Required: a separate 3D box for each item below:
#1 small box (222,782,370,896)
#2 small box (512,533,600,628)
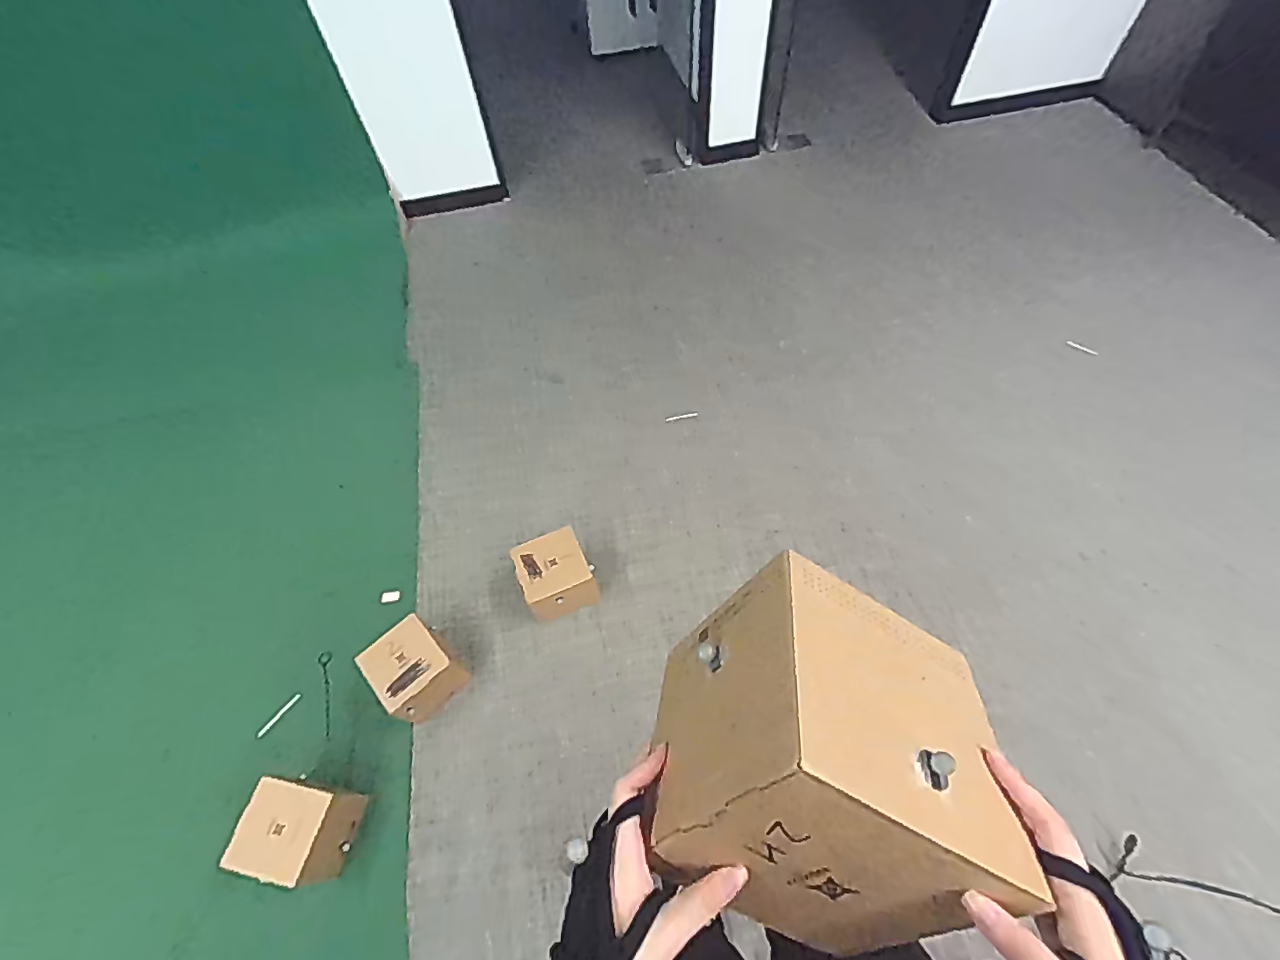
[{"bbox_3d":[-0.734,0.774,1.175,0.179,0.176,0.168,9,59,9],"label":"small box"},{"bbox_3d":[-0.222,0.275,1.452,0.179,0.176,0.168,-22,59,-11],"label":"small box"}]
